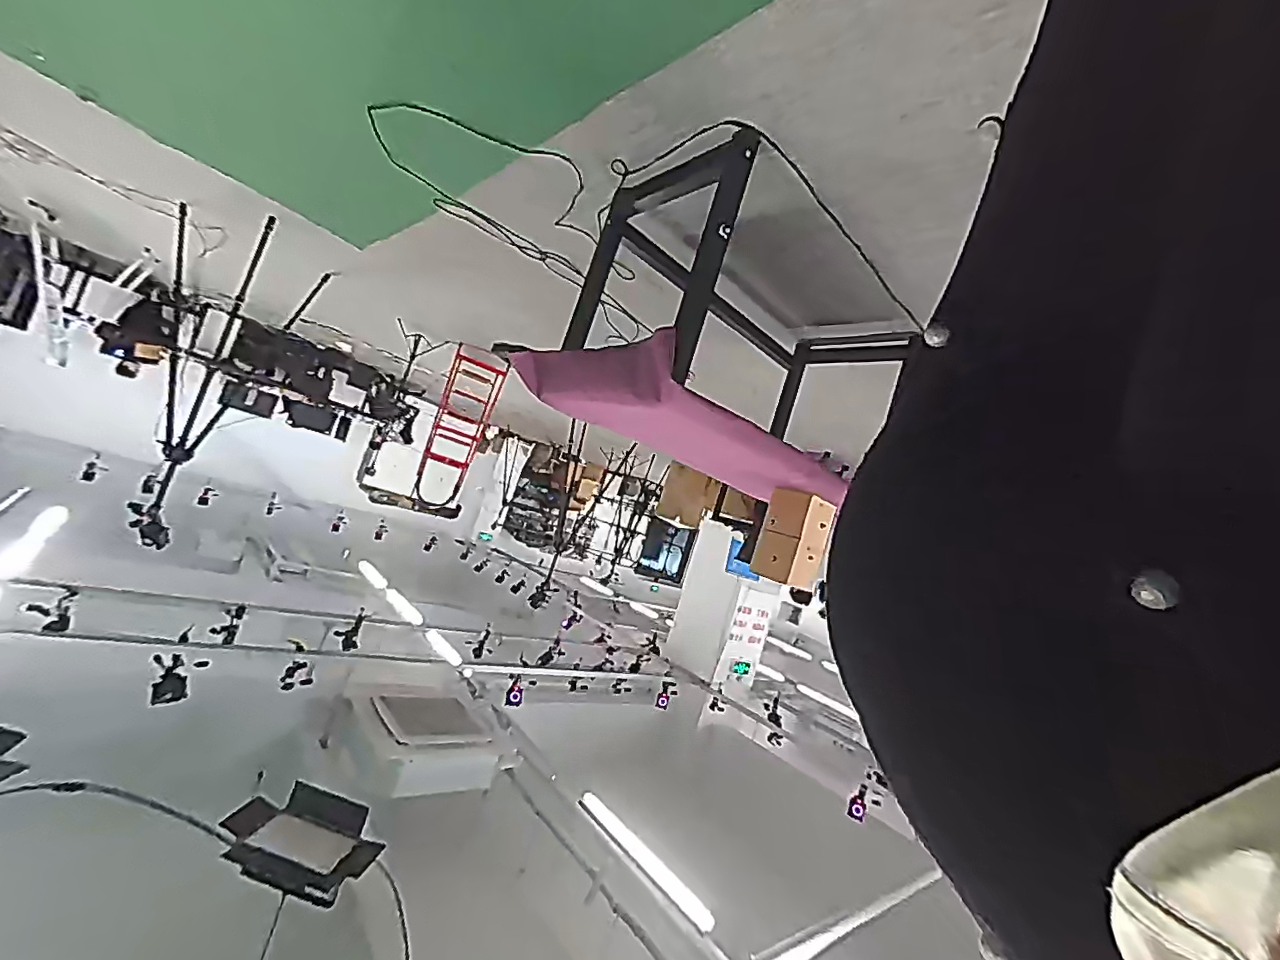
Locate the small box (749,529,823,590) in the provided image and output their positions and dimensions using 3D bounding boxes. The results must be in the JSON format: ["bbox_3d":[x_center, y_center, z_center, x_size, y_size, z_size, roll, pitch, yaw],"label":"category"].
[{"bbox_3d":[0.534,0.284,1.969,0.168,0.176,0.179,21,174,-39],"label":"small box"}]

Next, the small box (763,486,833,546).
[{"bbox_3d":[0.587,0.129,1.979,0.168,0.176,0.179,22,175,-39],"label":"small box"}]
